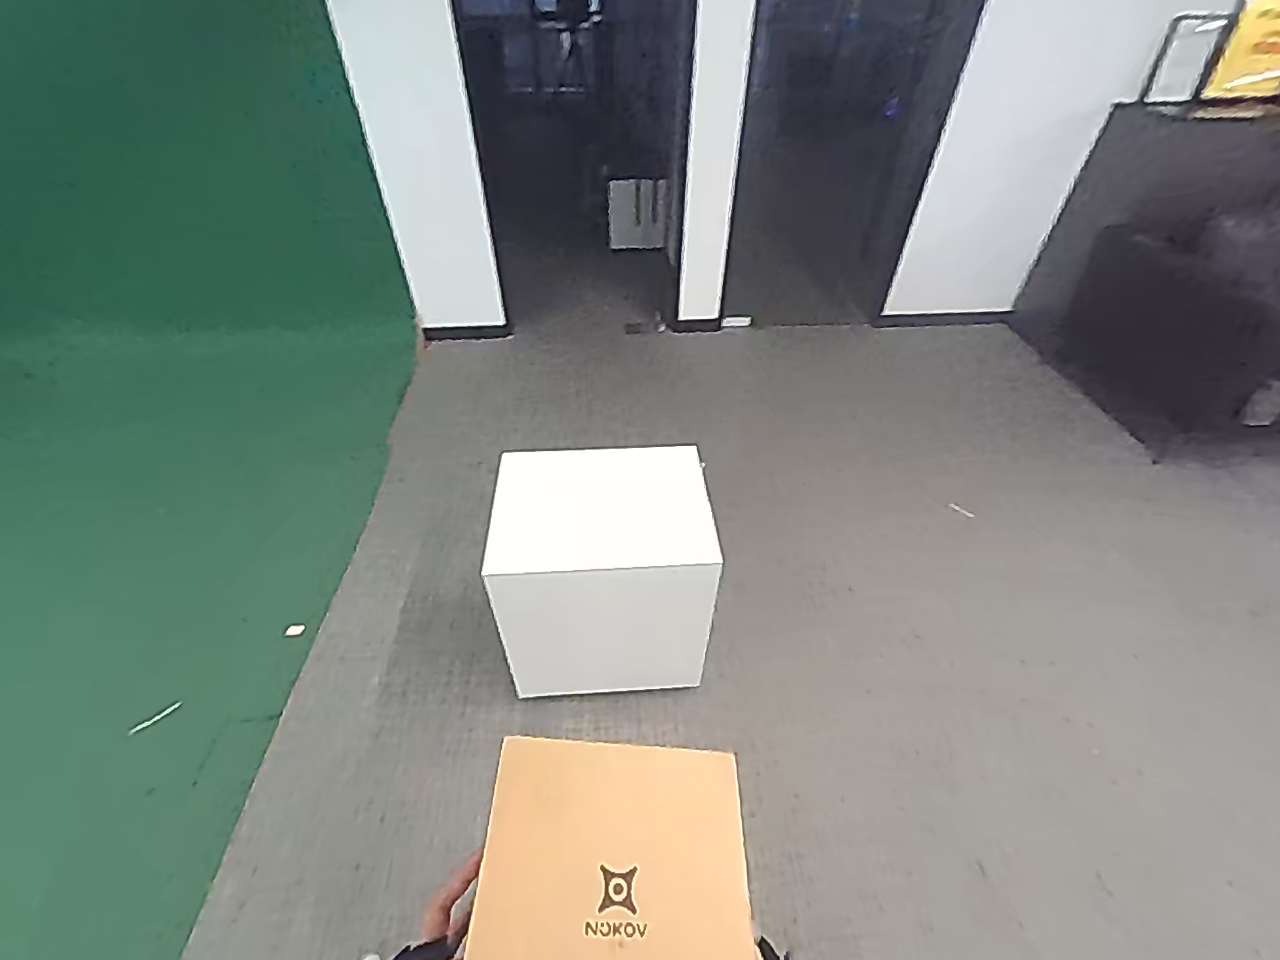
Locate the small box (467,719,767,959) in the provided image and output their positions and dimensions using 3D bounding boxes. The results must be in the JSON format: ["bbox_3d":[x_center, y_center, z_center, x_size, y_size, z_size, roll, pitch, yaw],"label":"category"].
[{"bbox_3d":[-0.025,0.288,0.370,0.168,0.176,0.179,7,45,-8],"label":"small box"}]
